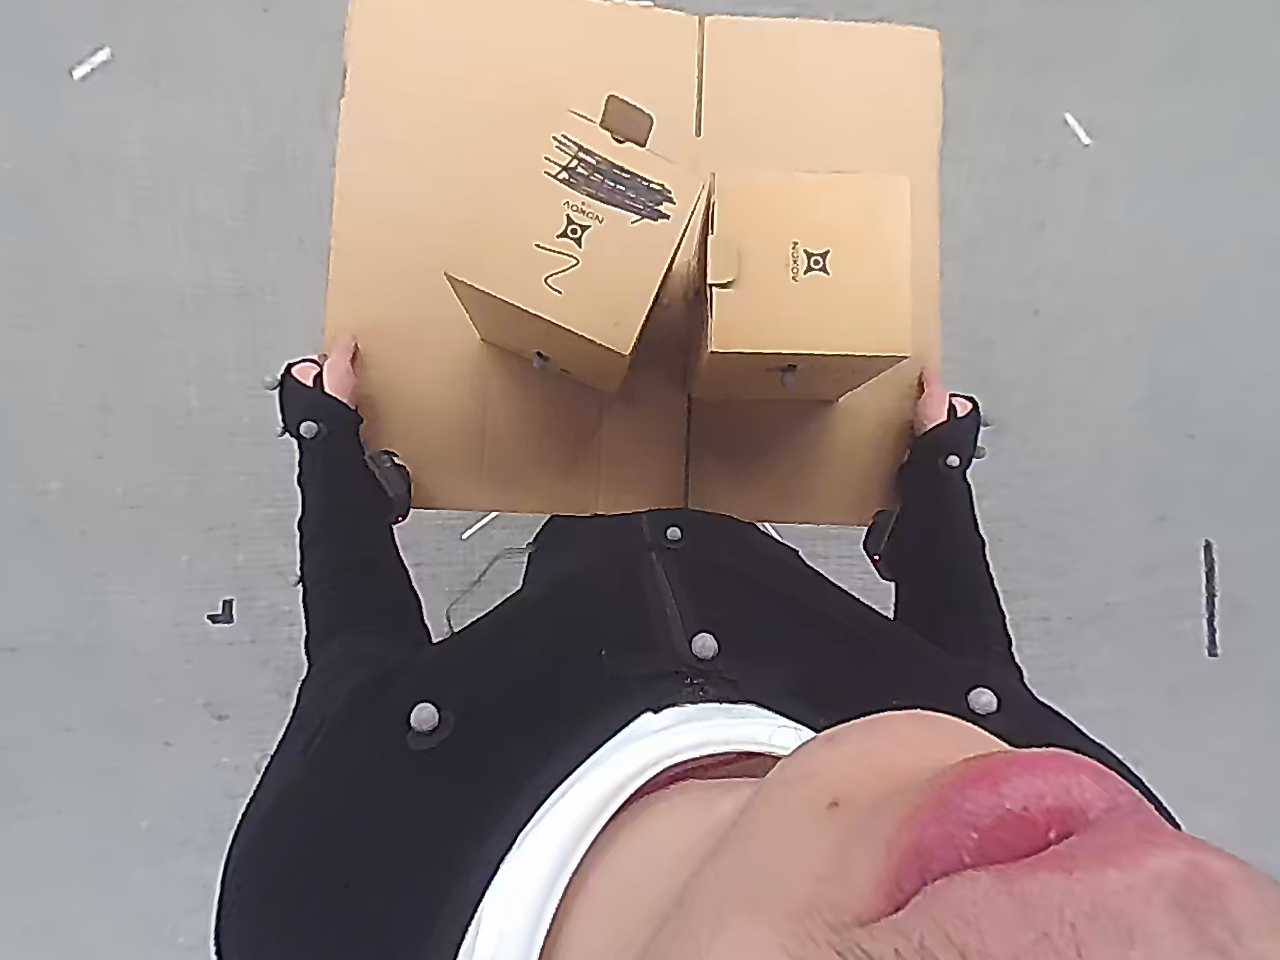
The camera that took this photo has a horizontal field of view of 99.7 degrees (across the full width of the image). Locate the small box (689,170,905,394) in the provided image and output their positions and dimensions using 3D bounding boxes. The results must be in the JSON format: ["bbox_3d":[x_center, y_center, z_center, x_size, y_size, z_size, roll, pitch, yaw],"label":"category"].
[{"bbox_3d":[0.148,-0.189,0.560,0.179,0.176,0.168,1,86,0],"label":"small box"}]
